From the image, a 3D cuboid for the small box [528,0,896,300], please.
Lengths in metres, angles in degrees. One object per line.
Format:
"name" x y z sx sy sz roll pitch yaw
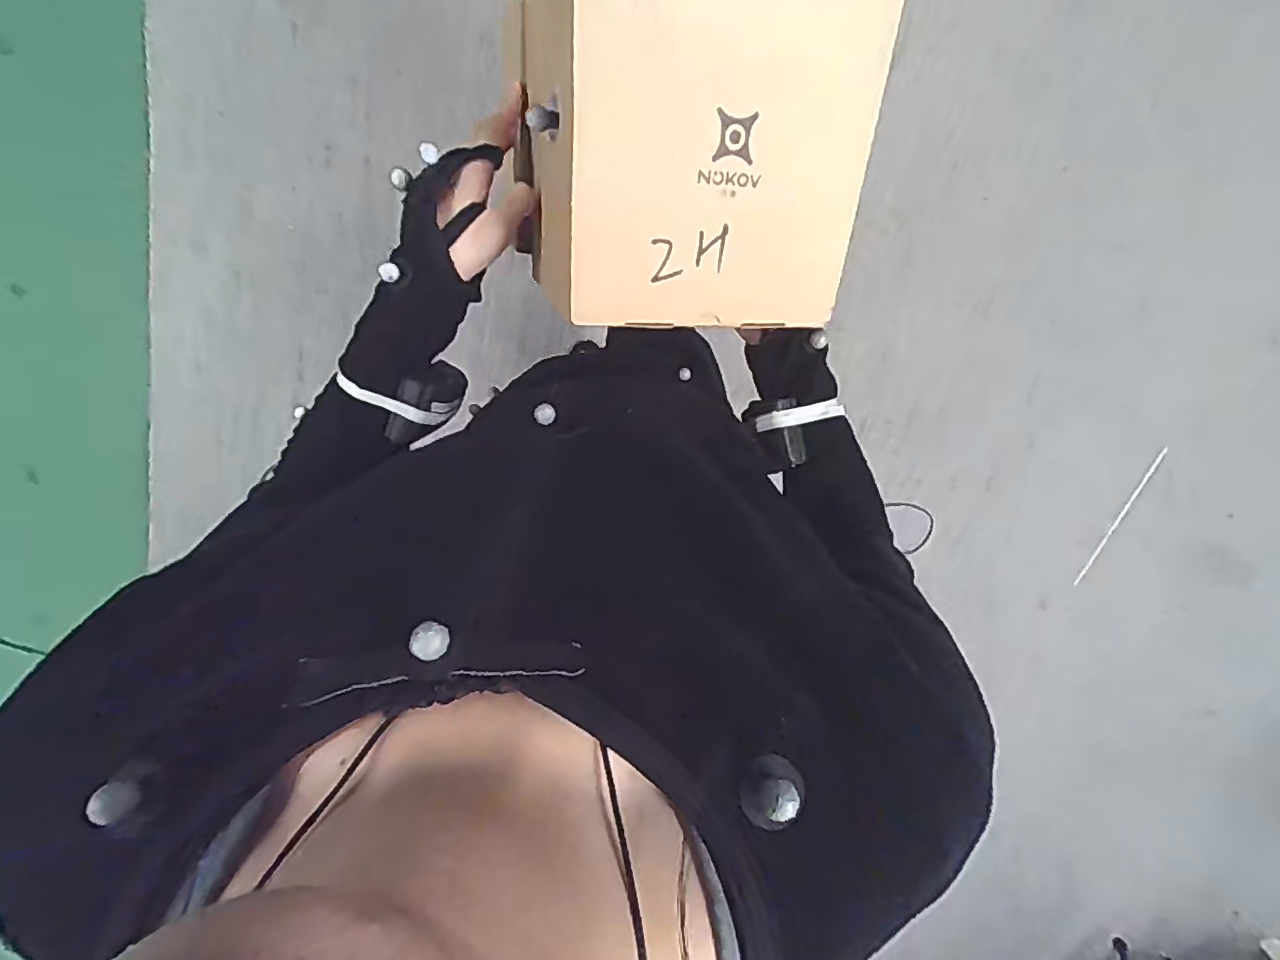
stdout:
"small box" 0.021 -0.221 0.340 0.168 0.176 0.179 -4 120 -16
